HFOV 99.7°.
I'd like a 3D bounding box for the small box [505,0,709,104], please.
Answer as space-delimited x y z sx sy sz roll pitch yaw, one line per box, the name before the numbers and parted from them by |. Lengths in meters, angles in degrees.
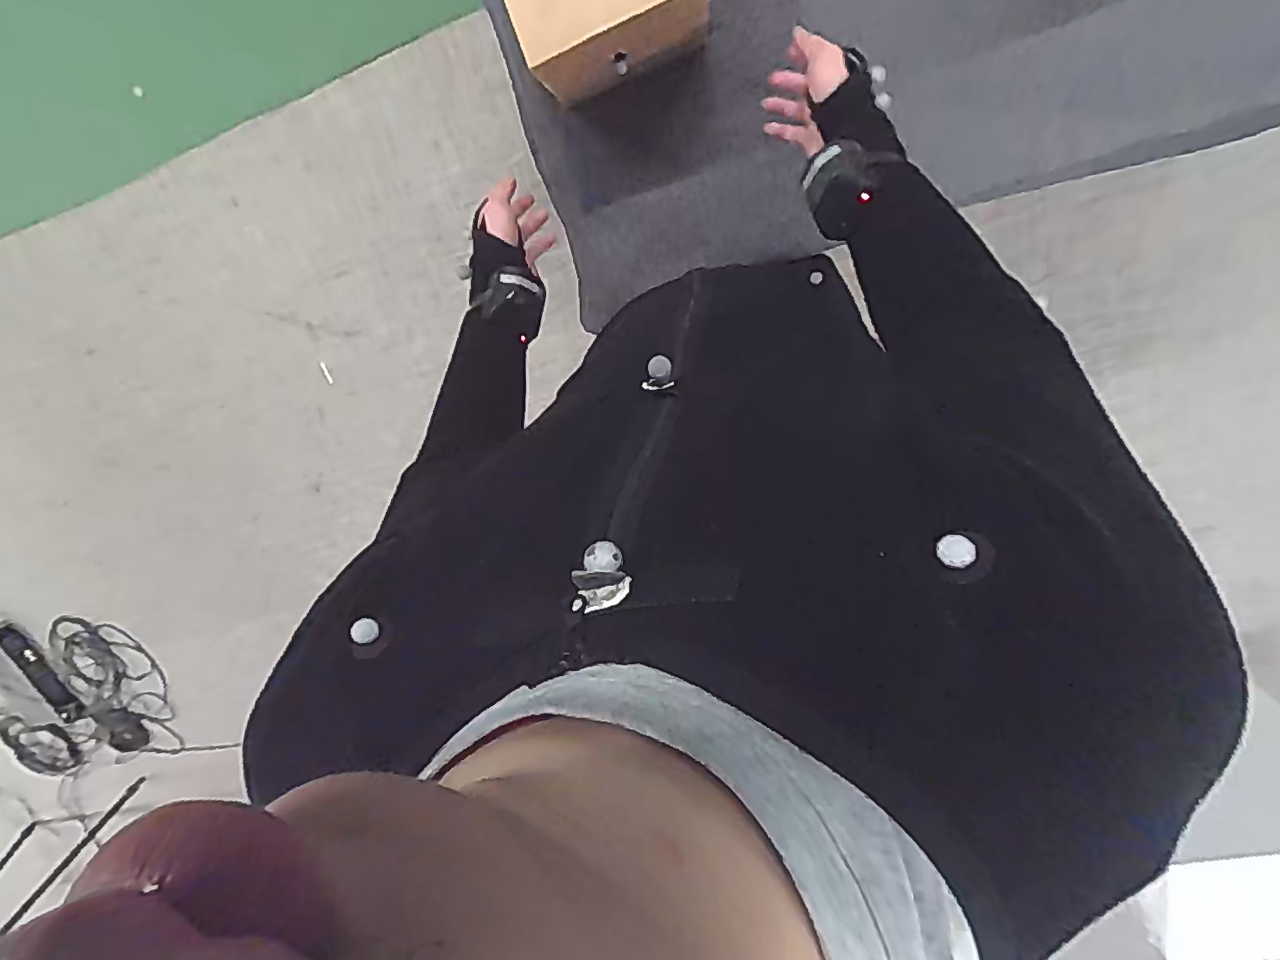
small box | -0.040 -0.503 0.525 0.179 0.176 0.168 -16 111 14
